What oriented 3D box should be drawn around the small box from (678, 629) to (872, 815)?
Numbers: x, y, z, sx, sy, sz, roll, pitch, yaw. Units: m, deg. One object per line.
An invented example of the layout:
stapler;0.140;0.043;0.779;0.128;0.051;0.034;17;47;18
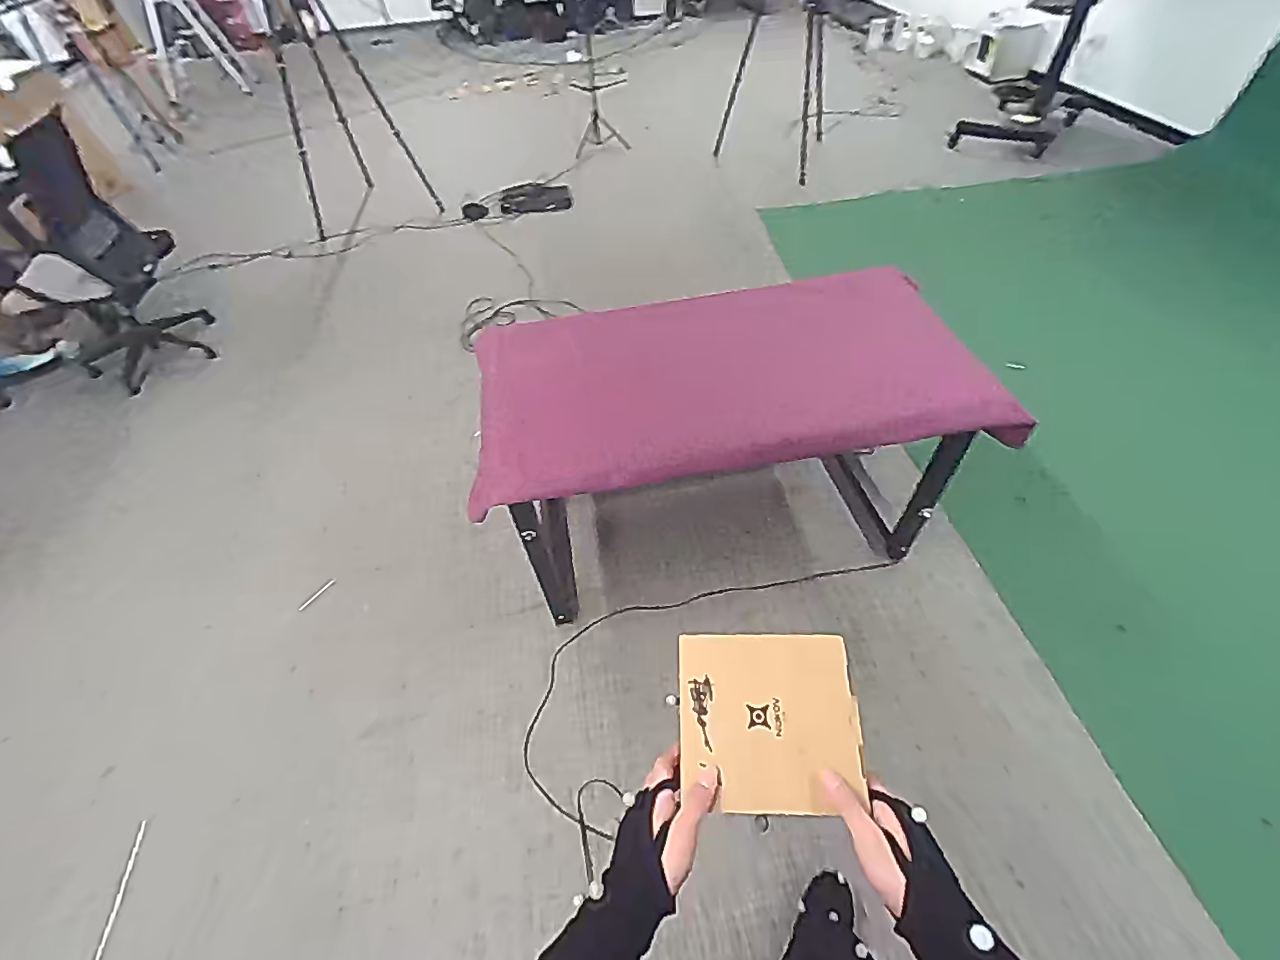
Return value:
small box;0.131;0.270;0.601;0.179;0.176;0.168;-1;59;4
